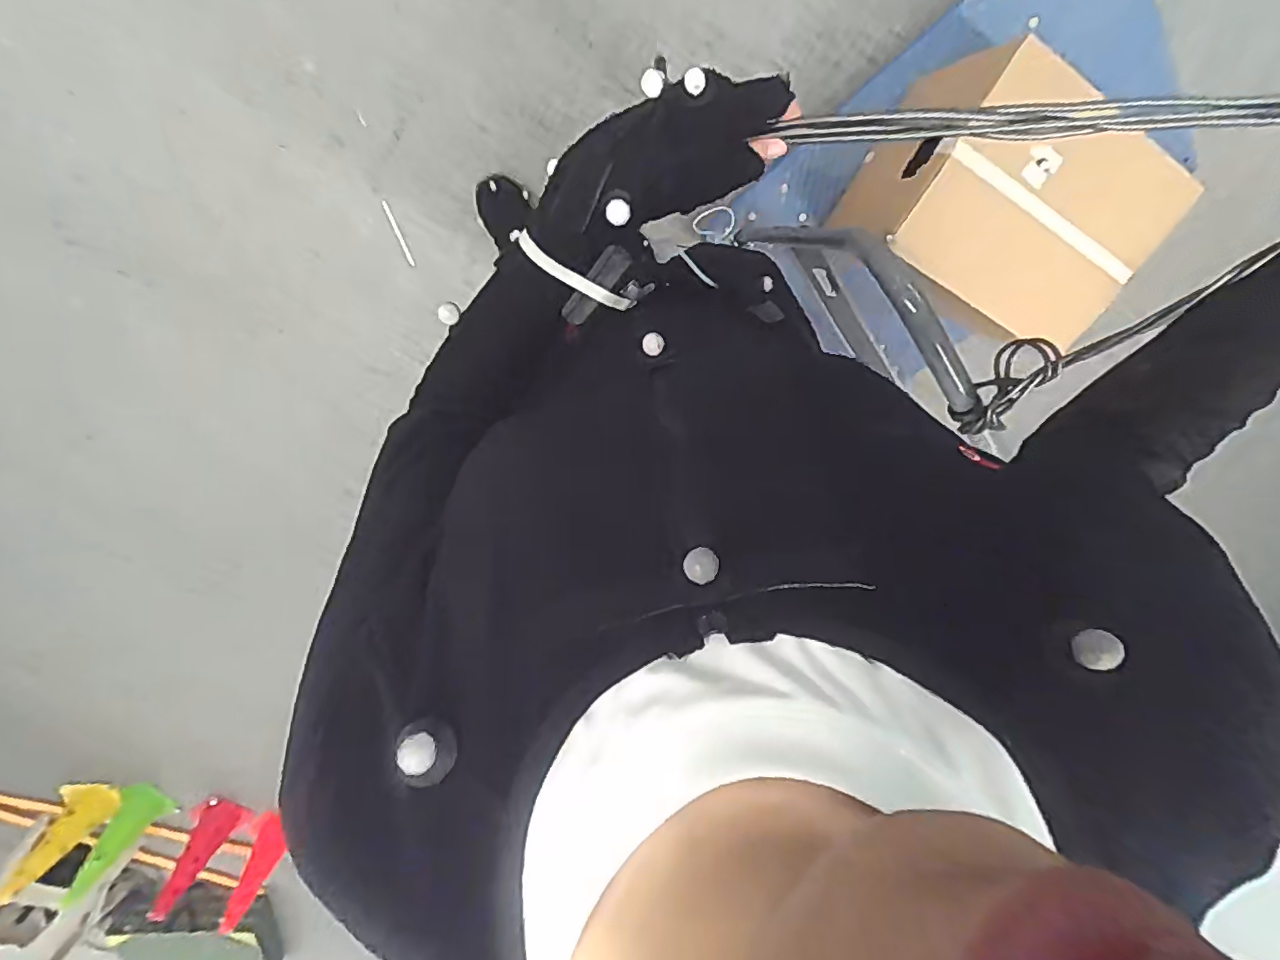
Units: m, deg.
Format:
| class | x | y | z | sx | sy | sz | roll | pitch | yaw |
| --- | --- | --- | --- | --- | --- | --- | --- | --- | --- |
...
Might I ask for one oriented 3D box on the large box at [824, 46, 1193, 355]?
| class | x | y | z | sx | sy | sz | roll | pitch | yaw |
| --- | --- | --- | --- | --- | --- | --- | --- | --- | --- |
| large box | 0.633 | -0.489 | 1.003 | 0.408 | 0.320 | 0.320 | 25 | 113 | -14 |
